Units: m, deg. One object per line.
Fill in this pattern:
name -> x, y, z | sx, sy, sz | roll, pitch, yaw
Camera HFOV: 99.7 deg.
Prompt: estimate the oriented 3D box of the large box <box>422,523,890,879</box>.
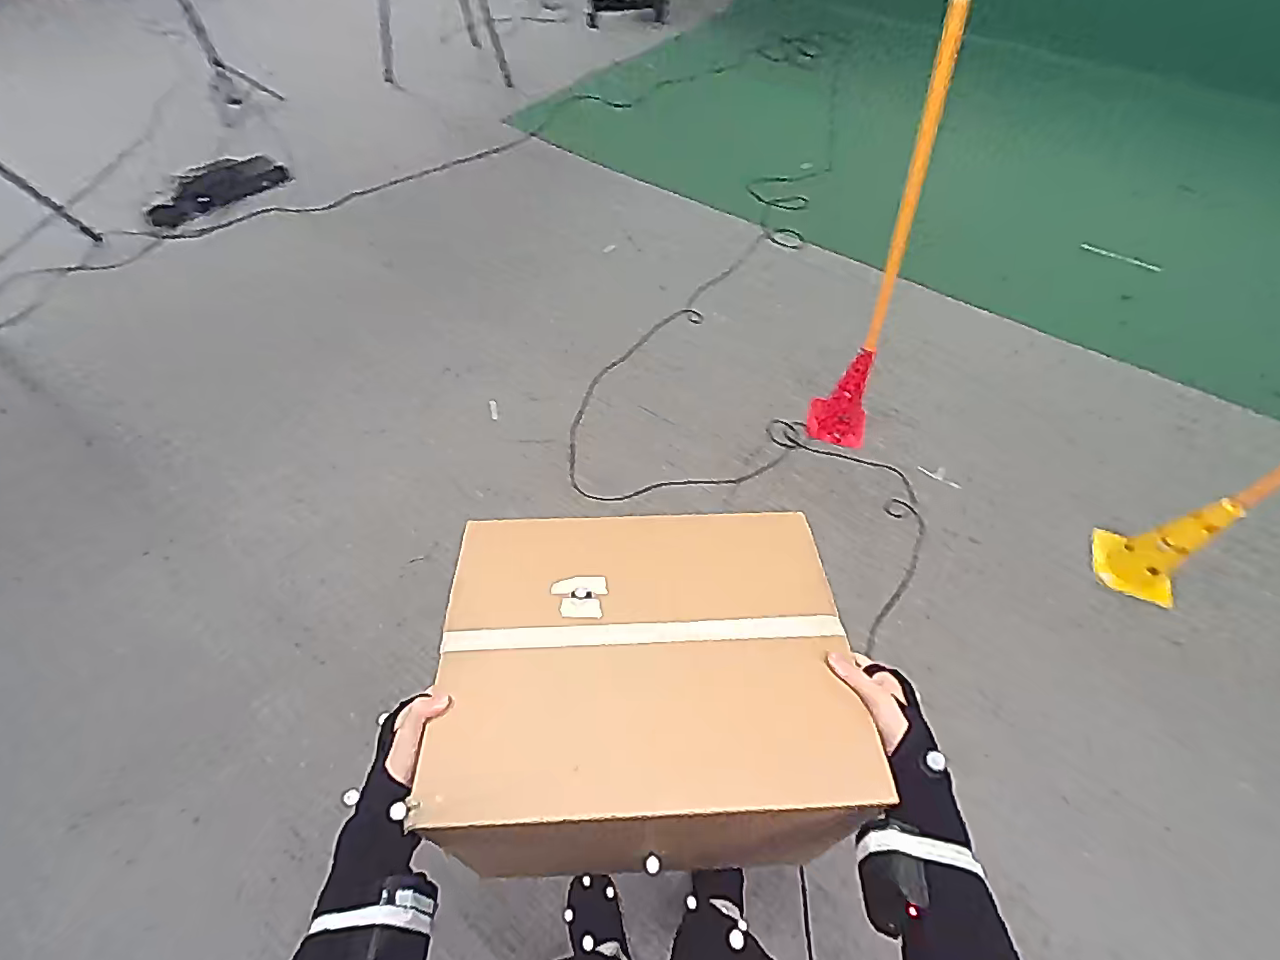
large box -> 0.012, 0.273, 0.661 | 0.408, 0.320, 0.320 | -2, 46, -1
